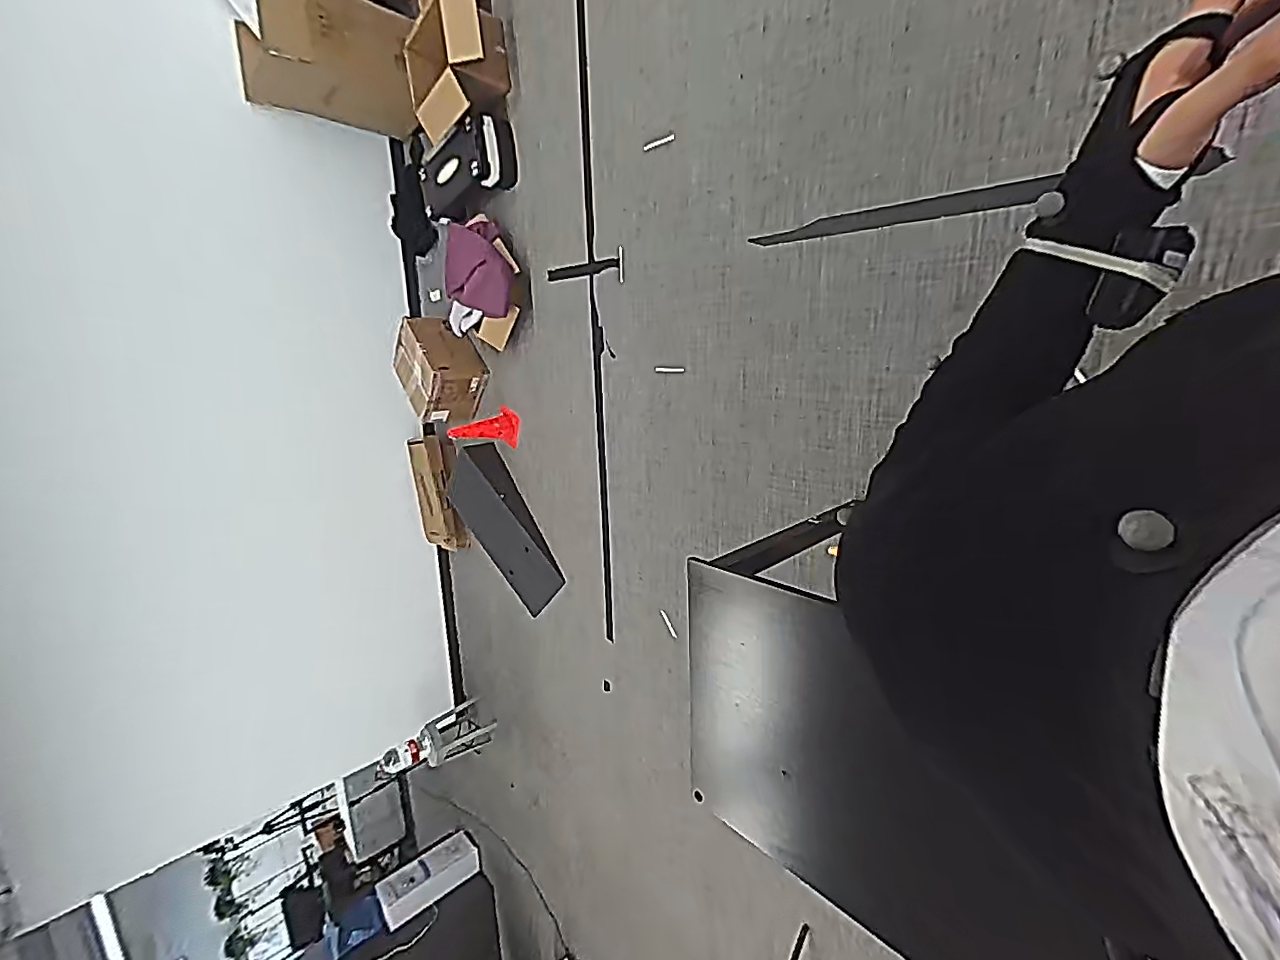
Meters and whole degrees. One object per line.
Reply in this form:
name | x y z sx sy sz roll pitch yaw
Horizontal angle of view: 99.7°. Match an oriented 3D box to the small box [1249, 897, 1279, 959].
small box | 0.670 0.532 0.474 0.179 0.176 0.168 14 110 47
